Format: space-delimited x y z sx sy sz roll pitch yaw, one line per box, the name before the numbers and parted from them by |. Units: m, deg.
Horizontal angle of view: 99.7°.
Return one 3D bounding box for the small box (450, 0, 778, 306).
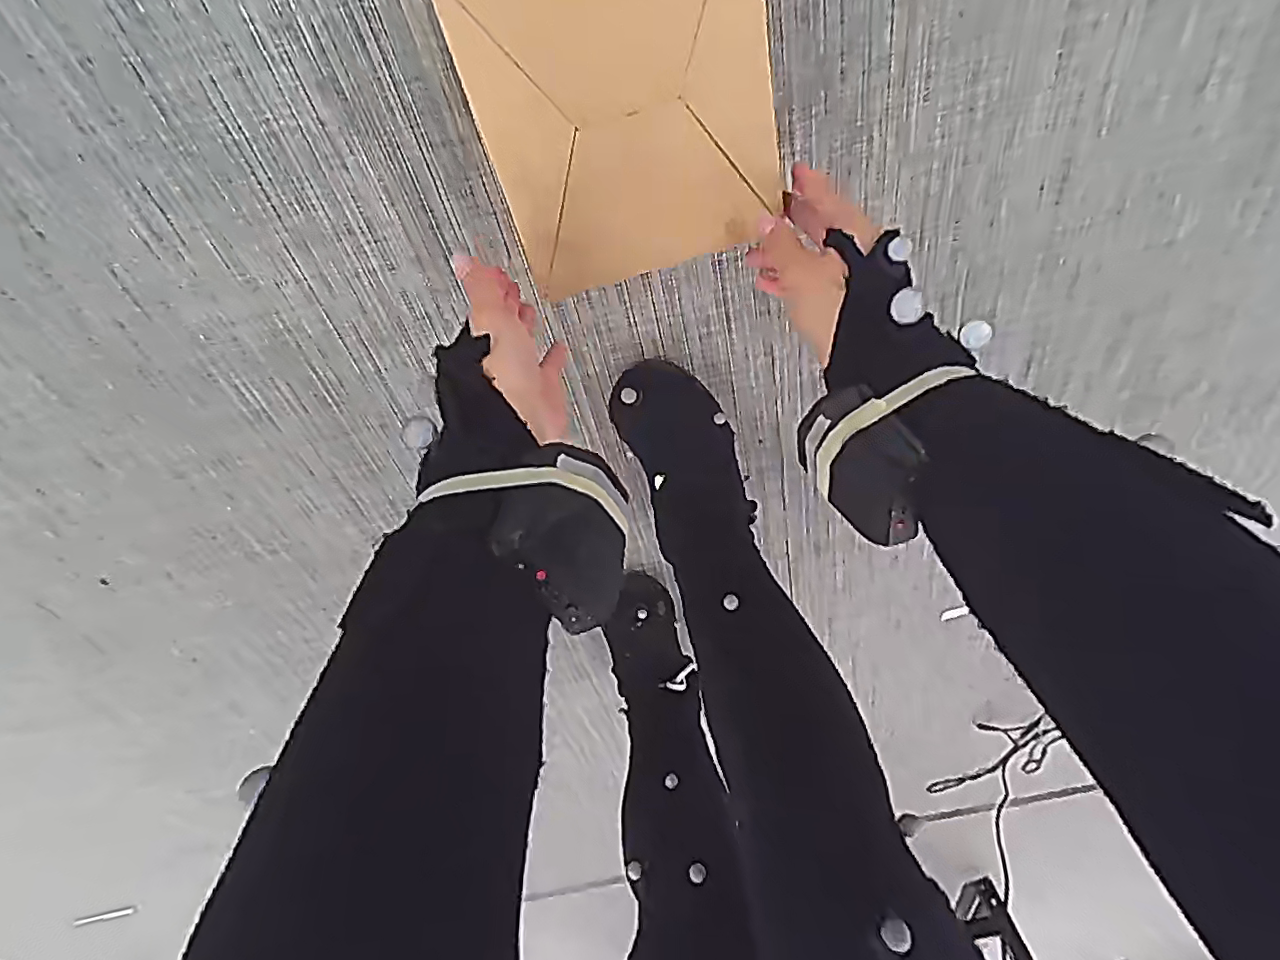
small box | -0.013 -0.247 0.371 0.168 0.176 0.179 -15 126 4
